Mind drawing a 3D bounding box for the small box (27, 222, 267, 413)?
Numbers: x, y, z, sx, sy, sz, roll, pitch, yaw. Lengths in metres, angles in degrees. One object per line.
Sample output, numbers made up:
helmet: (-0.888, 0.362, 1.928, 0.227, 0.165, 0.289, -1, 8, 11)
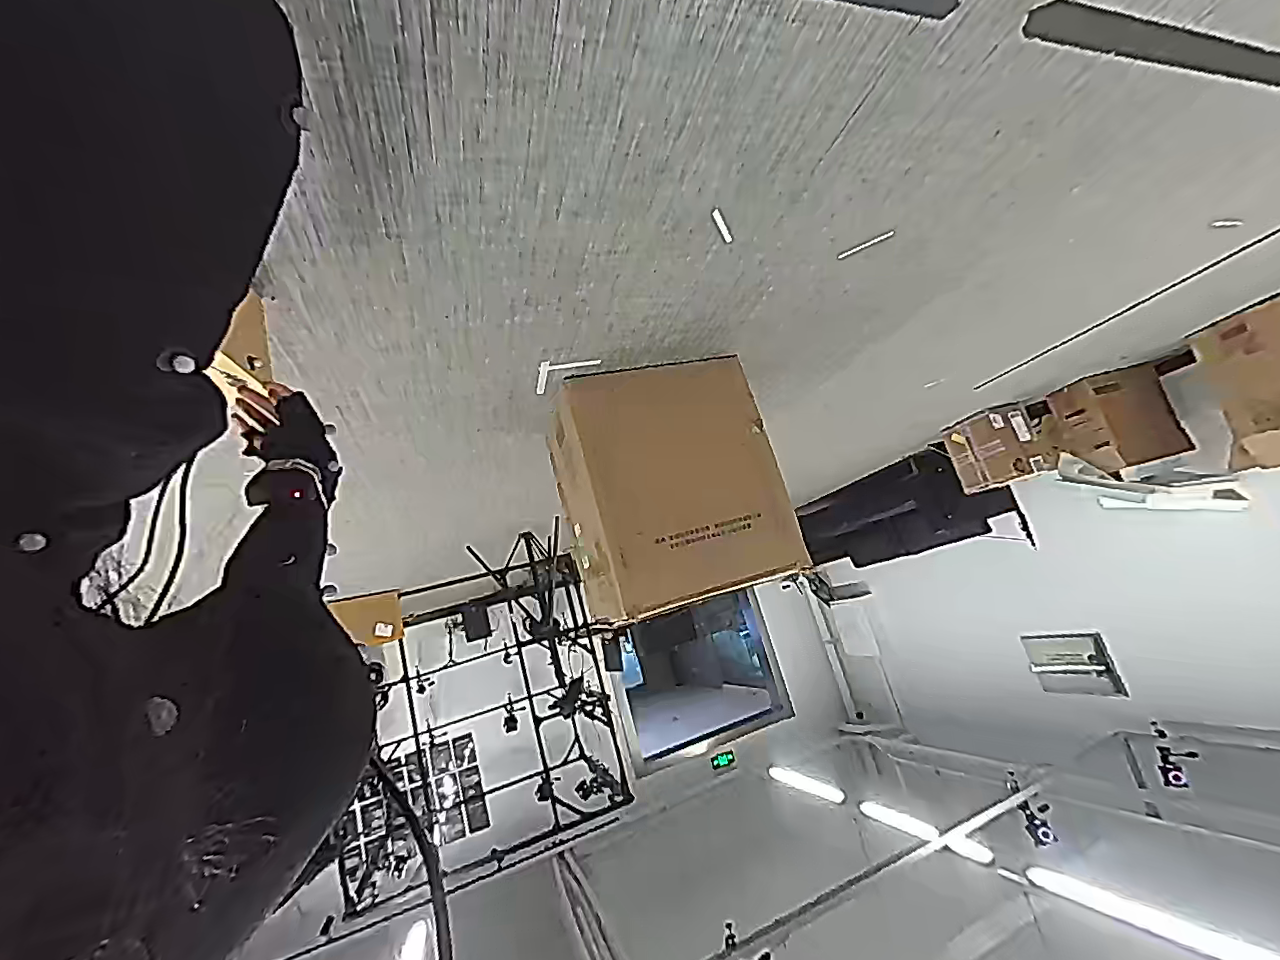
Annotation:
small box: (-0.629, -0.209, 0.710, 0.179, 0.176, 0.168, -13, 167, -12)
